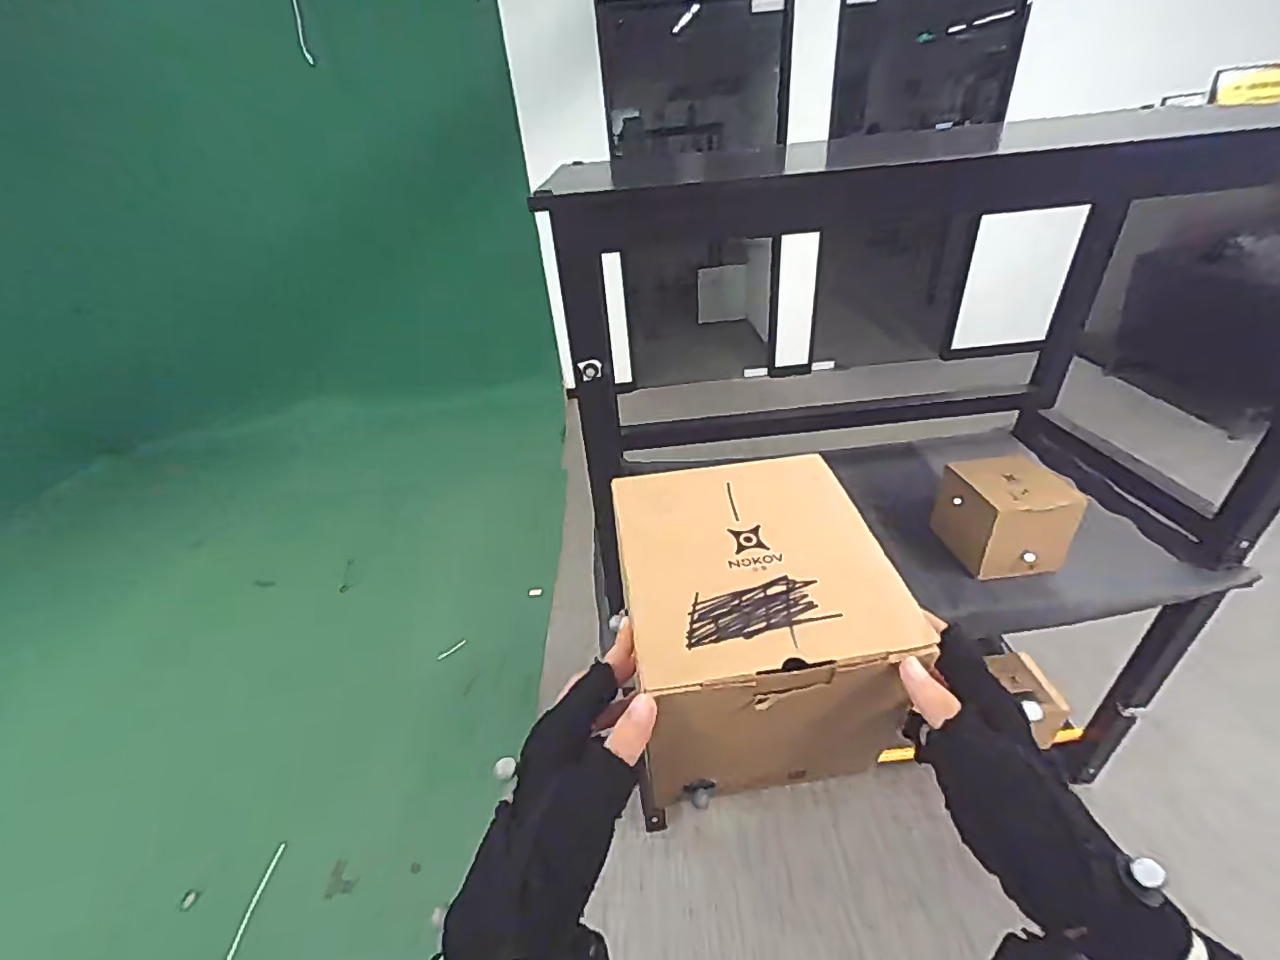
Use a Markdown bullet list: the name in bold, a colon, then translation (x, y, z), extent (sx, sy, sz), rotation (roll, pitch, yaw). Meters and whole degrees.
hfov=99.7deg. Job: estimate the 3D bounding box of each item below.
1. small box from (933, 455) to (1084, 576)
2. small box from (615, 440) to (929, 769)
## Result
- **small box**: translation (0.719, 0.069, 1.082), extent (0.168, 0.176, 0.179), rotation (-7, 32, -1)
- **small box**: translation (0.076, 0.094, 0.407), extent (0.168, 0.176, 0.179), rotation (-7, 40, -4)
